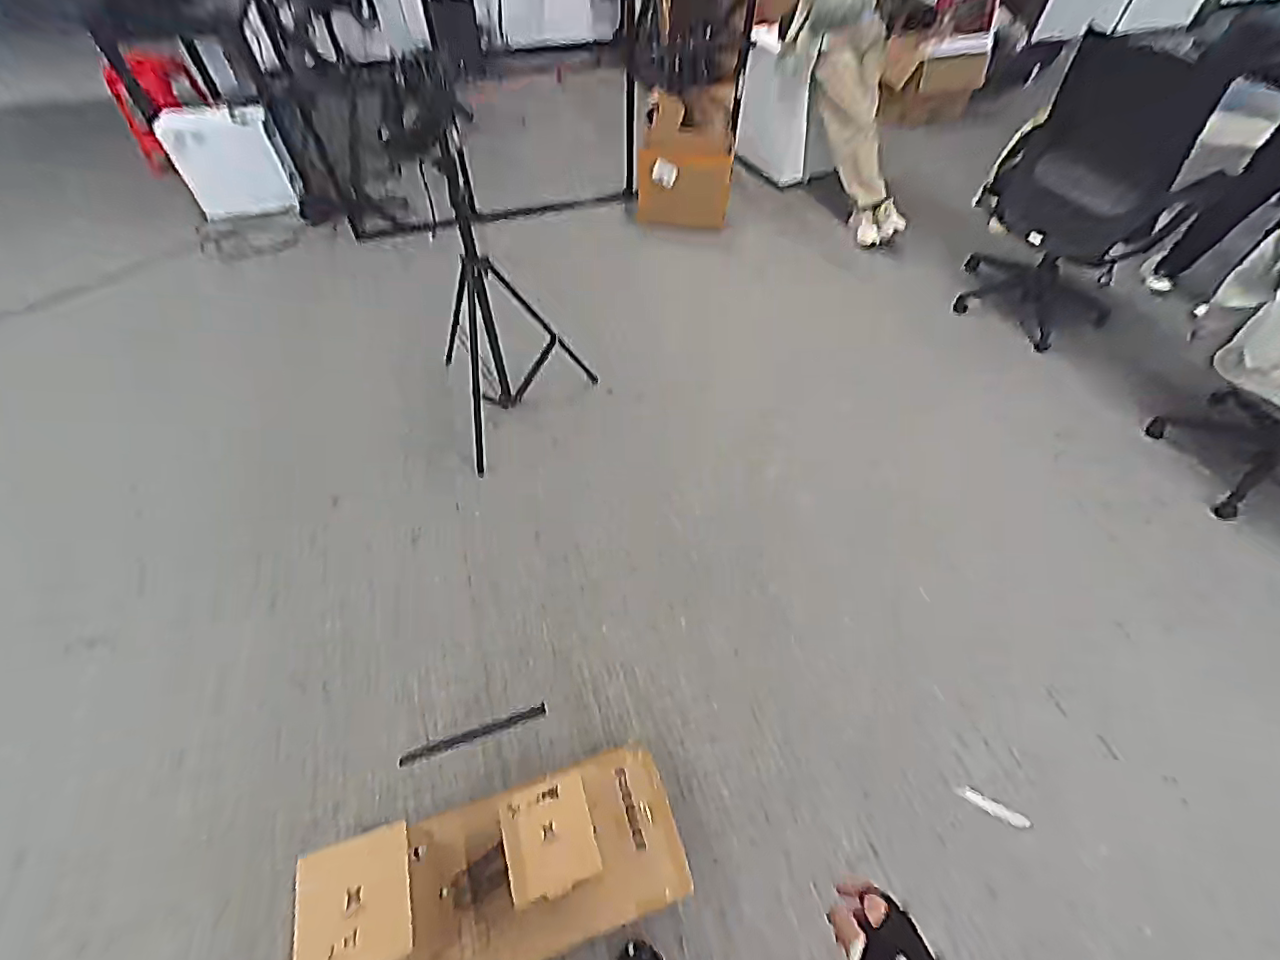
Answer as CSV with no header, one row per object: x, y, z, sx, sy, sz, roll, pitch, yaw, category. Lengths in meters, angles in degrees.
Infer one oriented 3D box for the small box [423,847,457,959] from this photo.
-0.451,0.805,1.002,0.168,0.176,0.179,-15,55,-13,small box

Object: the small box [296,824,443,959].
-0.431,0.694,0.880,0.168,0.176,0.179,-14,54,-12,small box

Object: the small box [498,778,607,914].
-0.169,0.721,1.073,0.168,0.176,0.179,-16,55,-10,small box
